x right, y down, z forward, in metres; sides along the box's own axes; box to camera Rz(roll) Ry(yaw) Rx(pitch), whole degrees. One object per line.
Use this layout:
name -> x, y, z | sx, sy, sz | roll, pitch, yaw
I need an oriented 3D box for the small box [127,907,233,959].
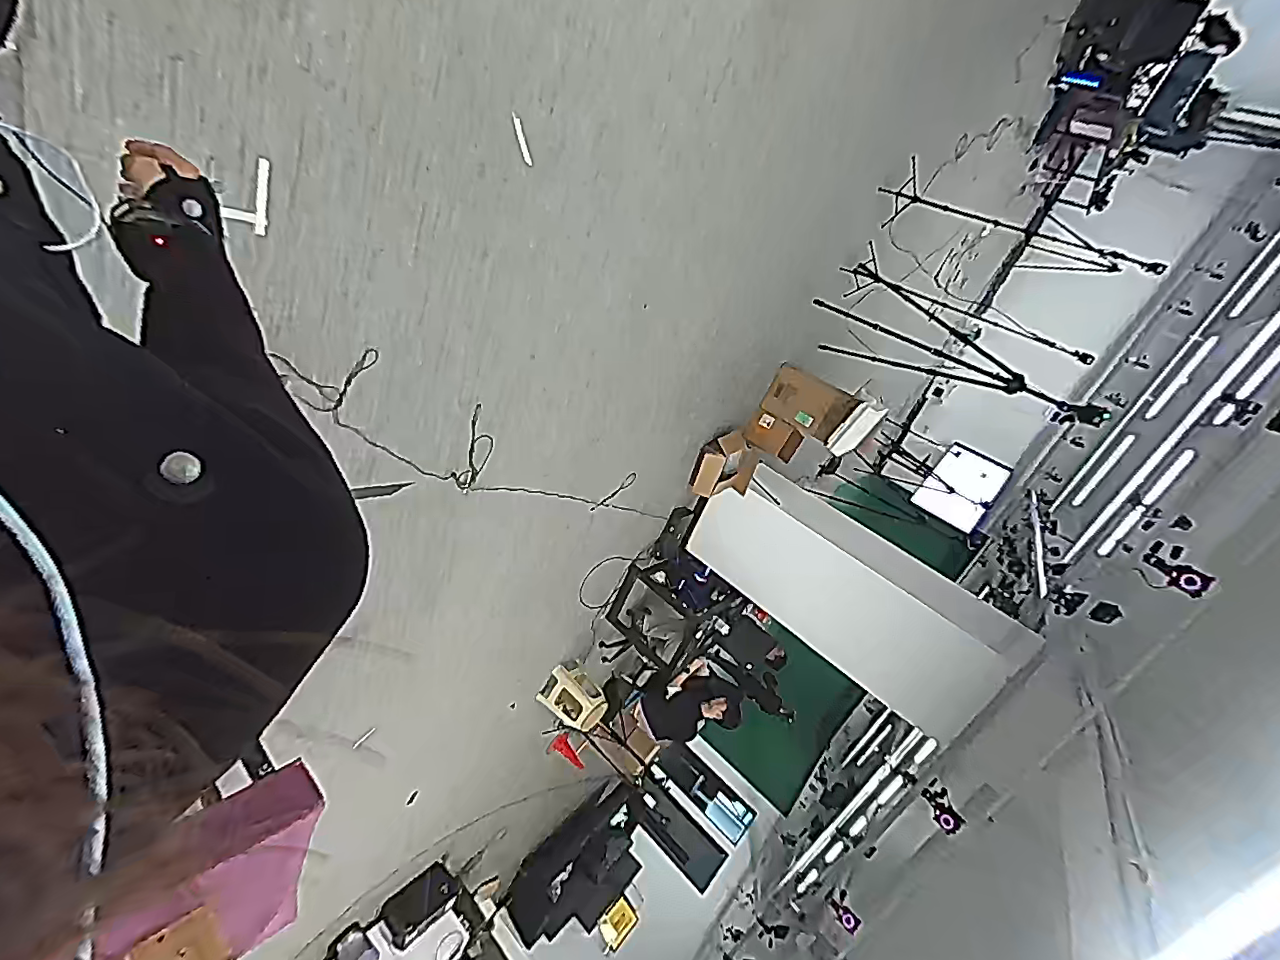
small box -> -1.167, 1.237, 1.363 | 0.168, 0.176, 0.179 | -7, 128, -56
